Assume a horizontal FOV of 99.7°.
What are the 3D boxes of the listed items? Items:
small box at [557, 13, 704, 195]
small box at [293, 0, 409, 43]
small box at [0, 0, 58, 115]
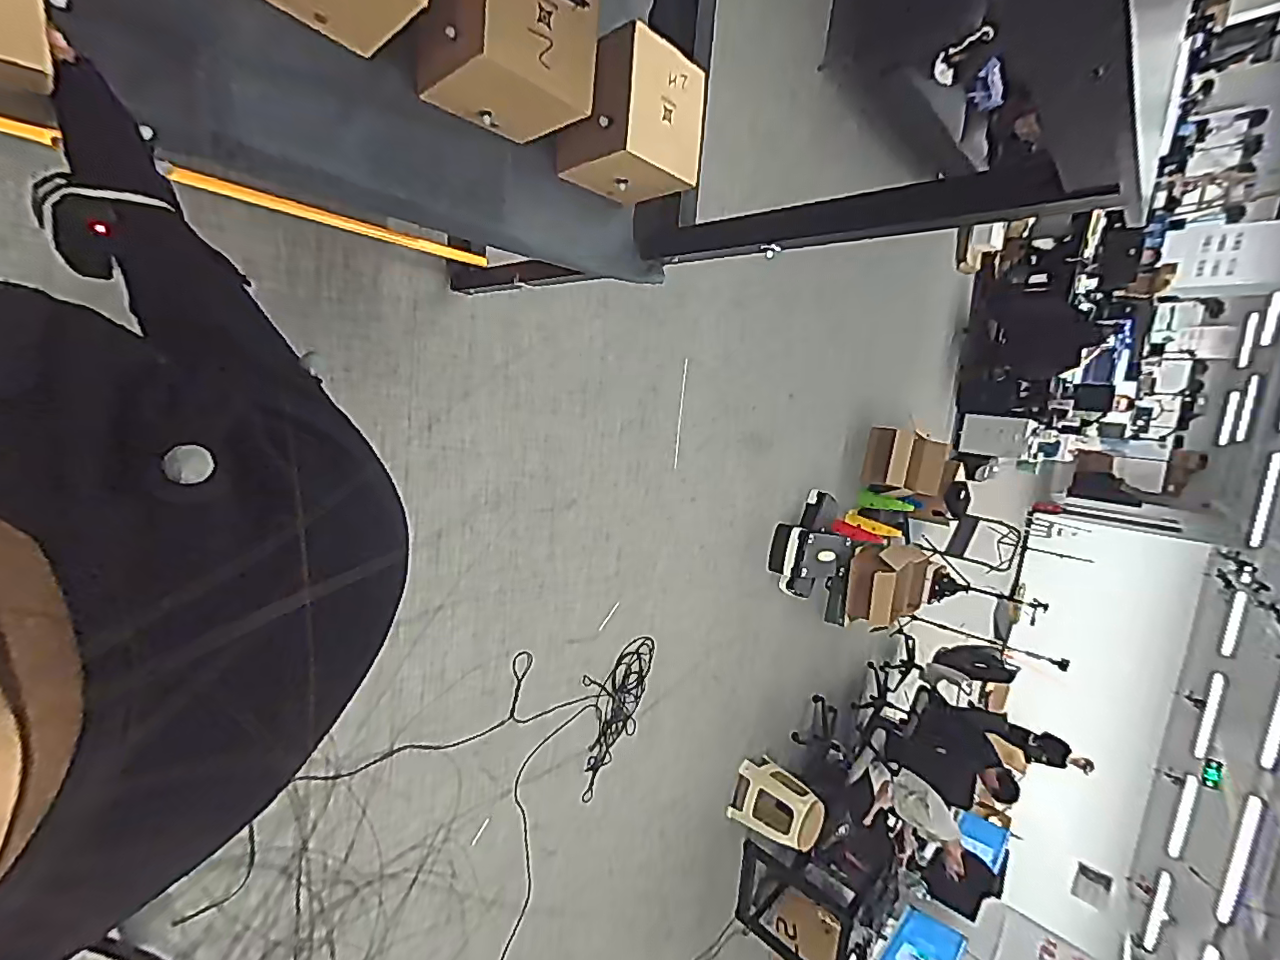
[{"bbox_3d":[-0.020,-0.588,0.881,0.168,0.176,0.179,-5,104,-47],"label":"small box"},{"bbox_3d":[-0.323,-0.604,0.551,0.168,0.176,0.179,2,98,-48],"label":"small box"},{"bbox_3d":[-0.534,-0.394,0.372,0.168,0.176,0.179,-8,108,-47],"label":"small box"}]
